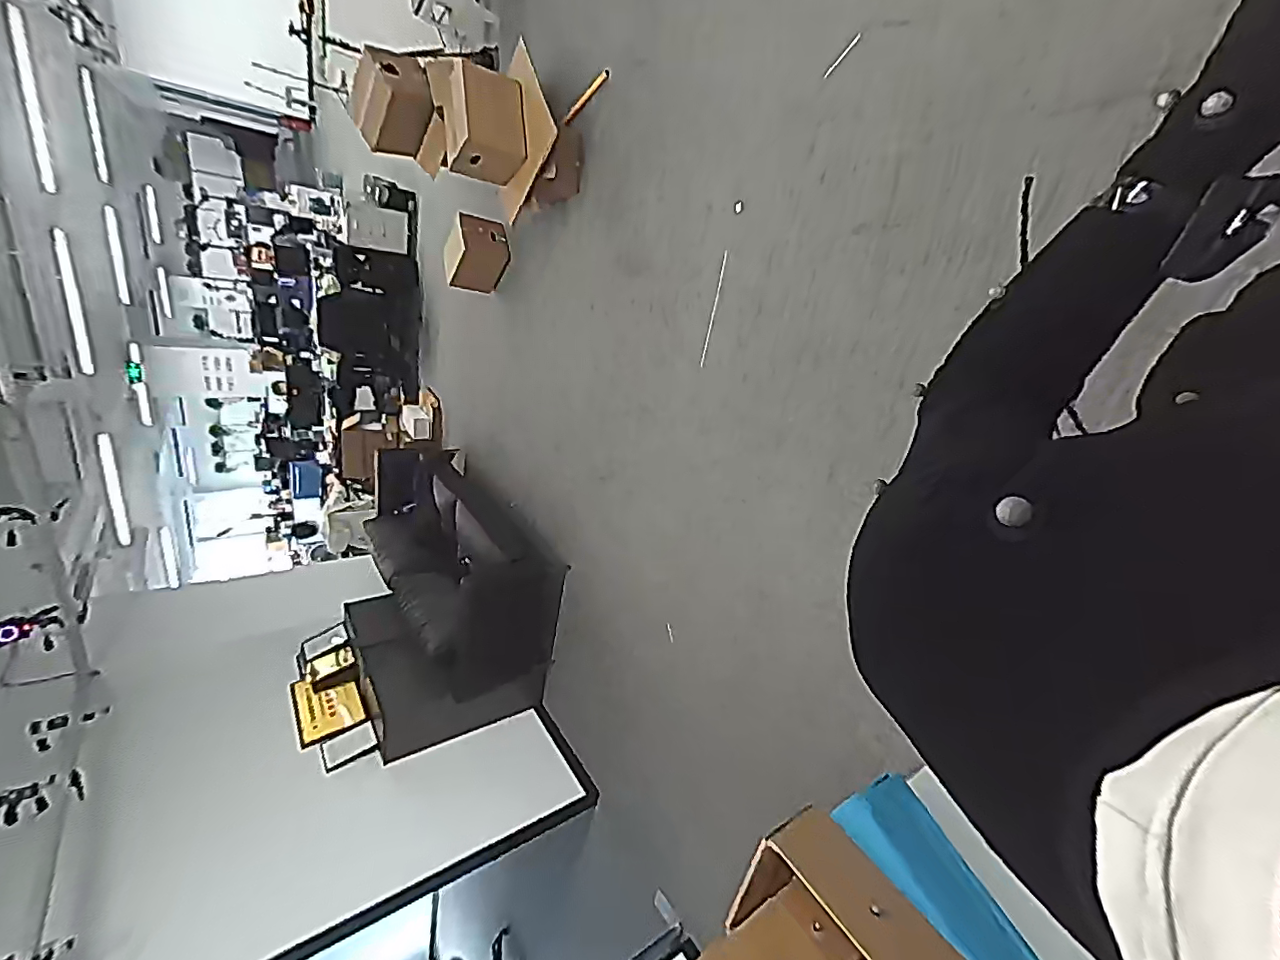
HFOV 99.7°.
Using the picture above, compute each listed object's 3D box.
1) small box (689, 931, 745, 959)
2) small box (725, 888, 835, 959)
[{"bbox_3d":[0.144,1.047,1.051,0.179,0.176,0.168,39,127,44],"label":"small box"},{"bbox_3d":[0.283,1.025,1.139,0.179,0.176,0.168,37,125,44],"label":"small box"}]
